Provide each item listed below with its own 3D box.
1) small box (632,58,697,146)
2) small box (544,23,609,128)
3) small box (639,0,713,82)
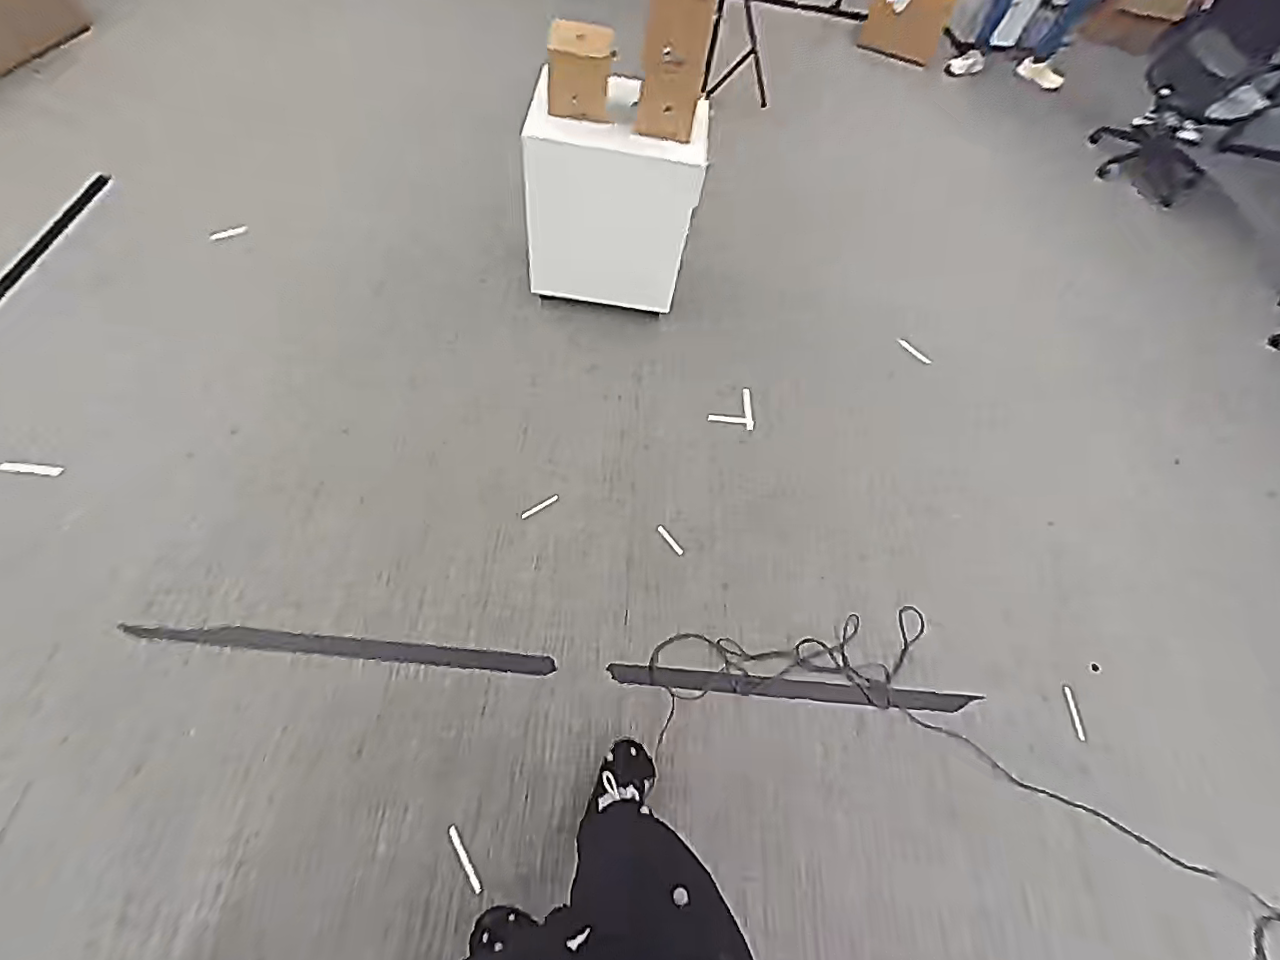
[{"bbox_3d":[0.070,-1.084,1.532,0.168,0.176,0.179,7,61,-3],"label":"small box"},{"bbox_3d":[-0.180,-1.134,1.522,0.168,0.176,0.179,5,60,-6],"label":"small box"},{"bbox_3d":[0.091,-1.173,1.396,0.168,0.176,0.179,7,60,-2],"label":"small box"}]
